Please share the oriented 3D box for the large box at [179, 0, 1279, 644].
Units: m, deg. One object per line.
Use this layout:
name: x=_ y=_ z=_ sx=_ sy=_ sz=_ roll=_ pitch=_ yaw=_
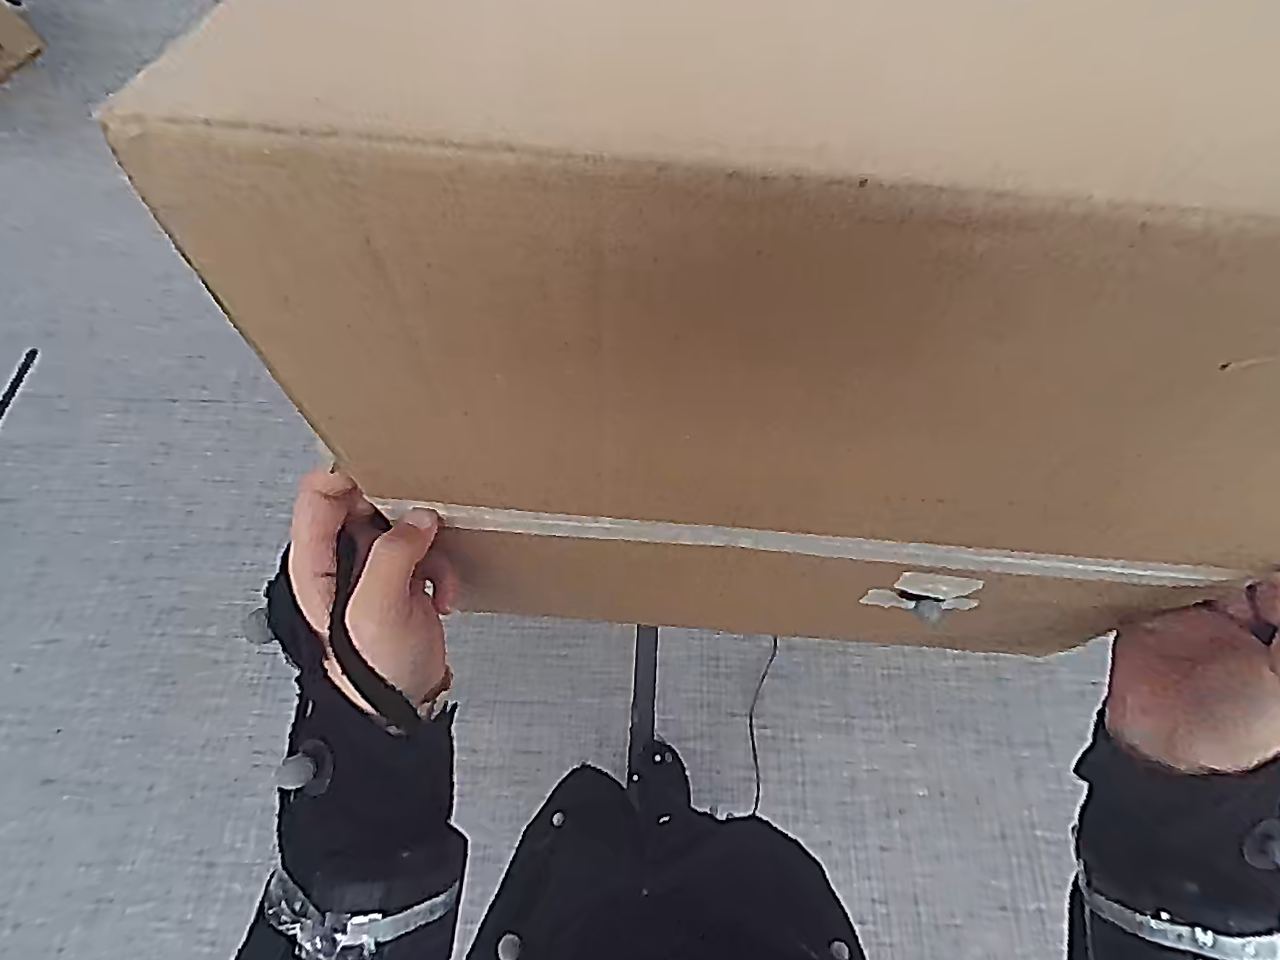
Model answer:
large box: x=0.086 y=-0.103 z=0.330 sx=0.408 sy=0.320 sz=0.320 roll=4 pitch=59 yaw=-1
